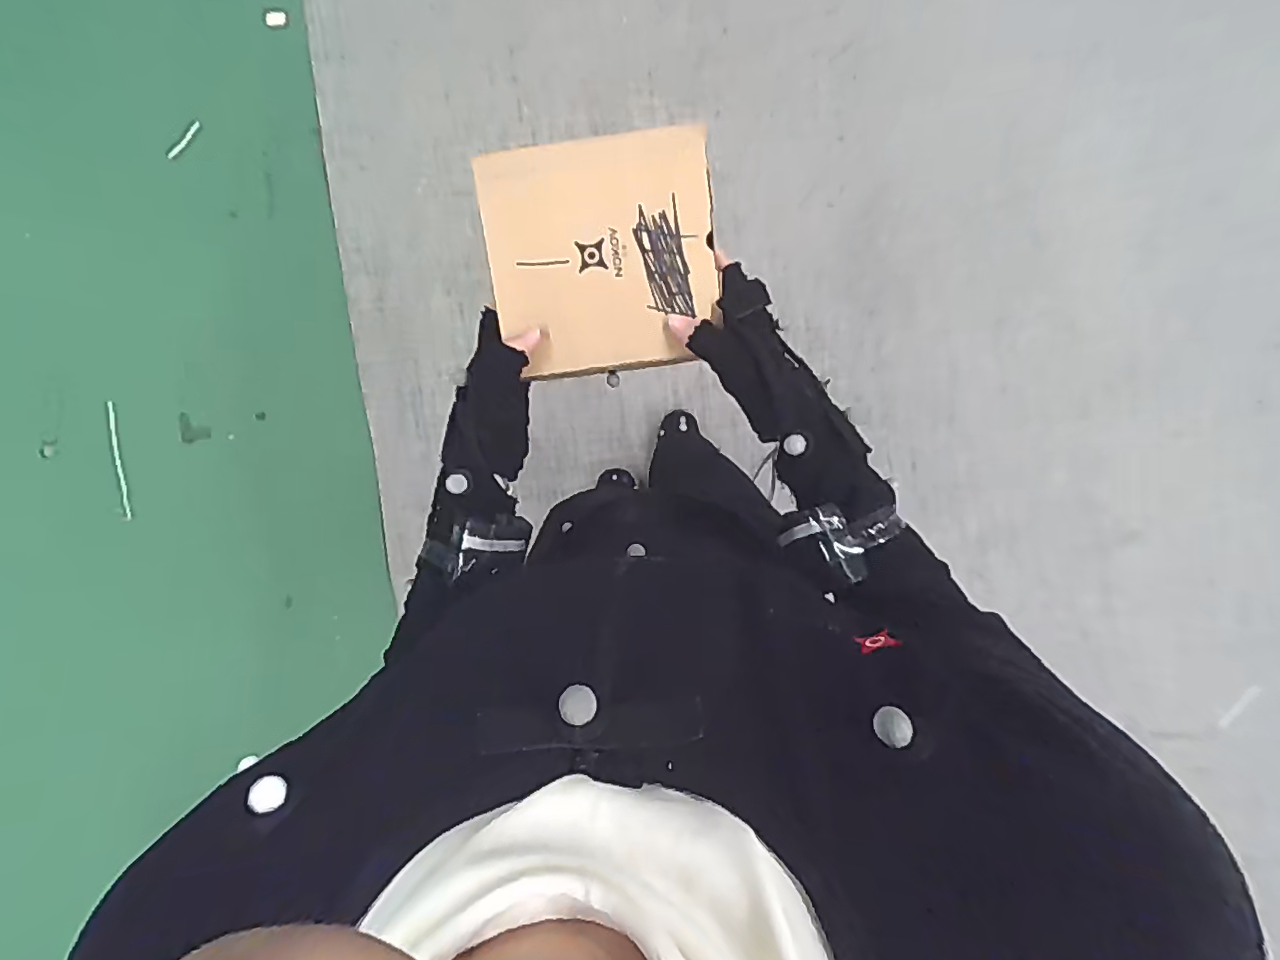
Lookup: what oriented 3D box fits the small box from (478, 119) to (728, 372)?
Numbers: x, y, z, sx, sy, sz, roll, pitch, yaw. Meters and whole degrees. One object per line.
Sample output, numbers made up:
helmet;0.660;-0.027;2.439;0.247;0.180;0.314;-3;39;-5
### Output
small box;-0.025;-0.191;0.491;0.179;0.176;0.168;-7;100;2
